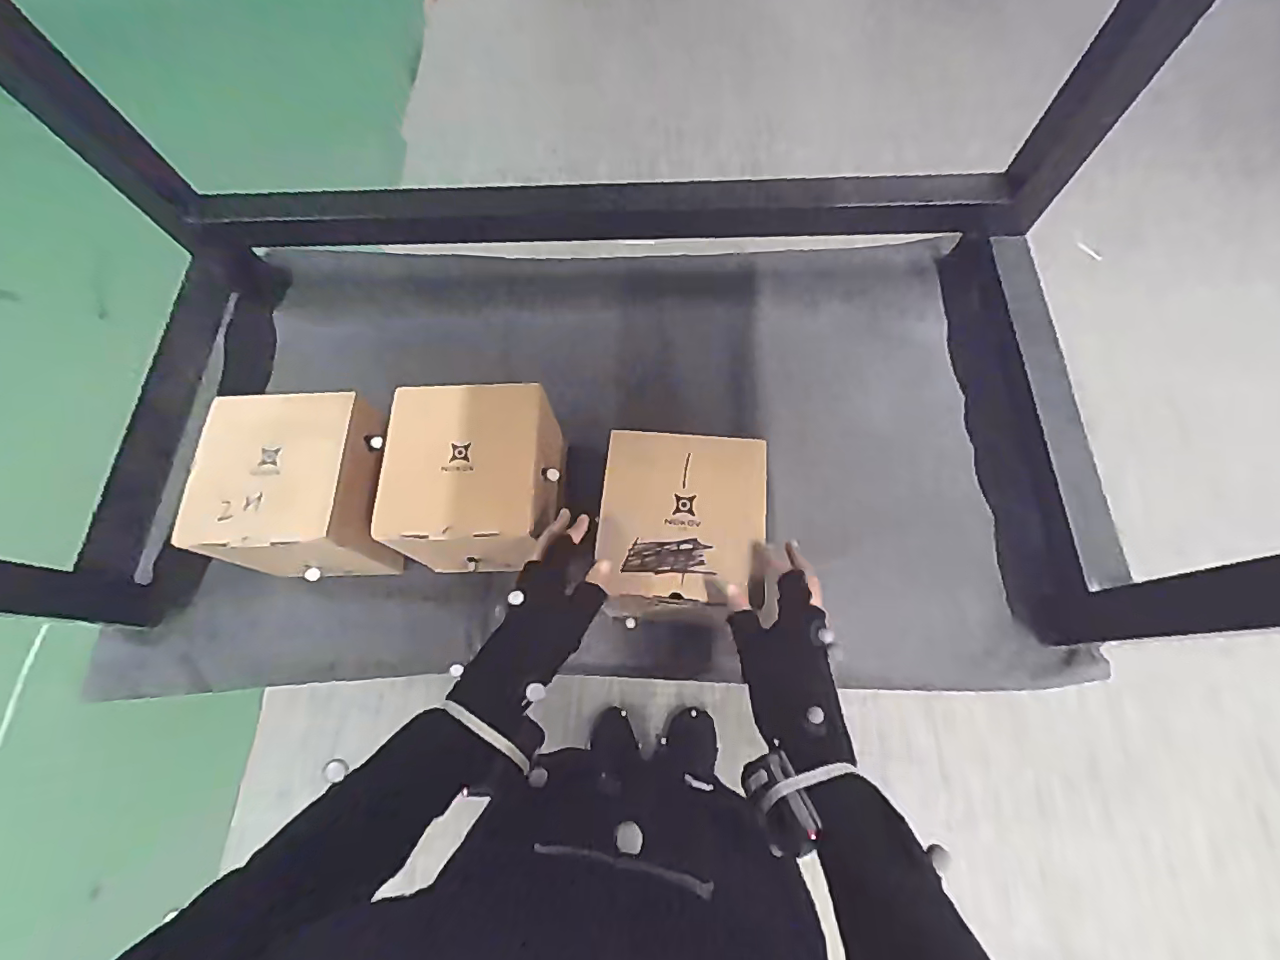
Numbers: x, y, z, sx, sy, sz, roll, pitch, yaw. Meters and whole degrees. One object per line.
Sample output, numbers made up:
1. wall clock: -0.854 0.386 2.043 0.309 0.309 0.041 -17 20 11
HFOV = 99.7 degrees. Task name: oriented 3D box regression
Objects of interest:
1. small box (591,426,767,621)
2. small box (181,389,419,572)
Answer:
1. small box: 0.047 0.058 0.614 0.168 0.176 0.179 5 68 5
2. small box: -0.388 0.007 0.656 0.168 0.176 0.179 -2 69 2
